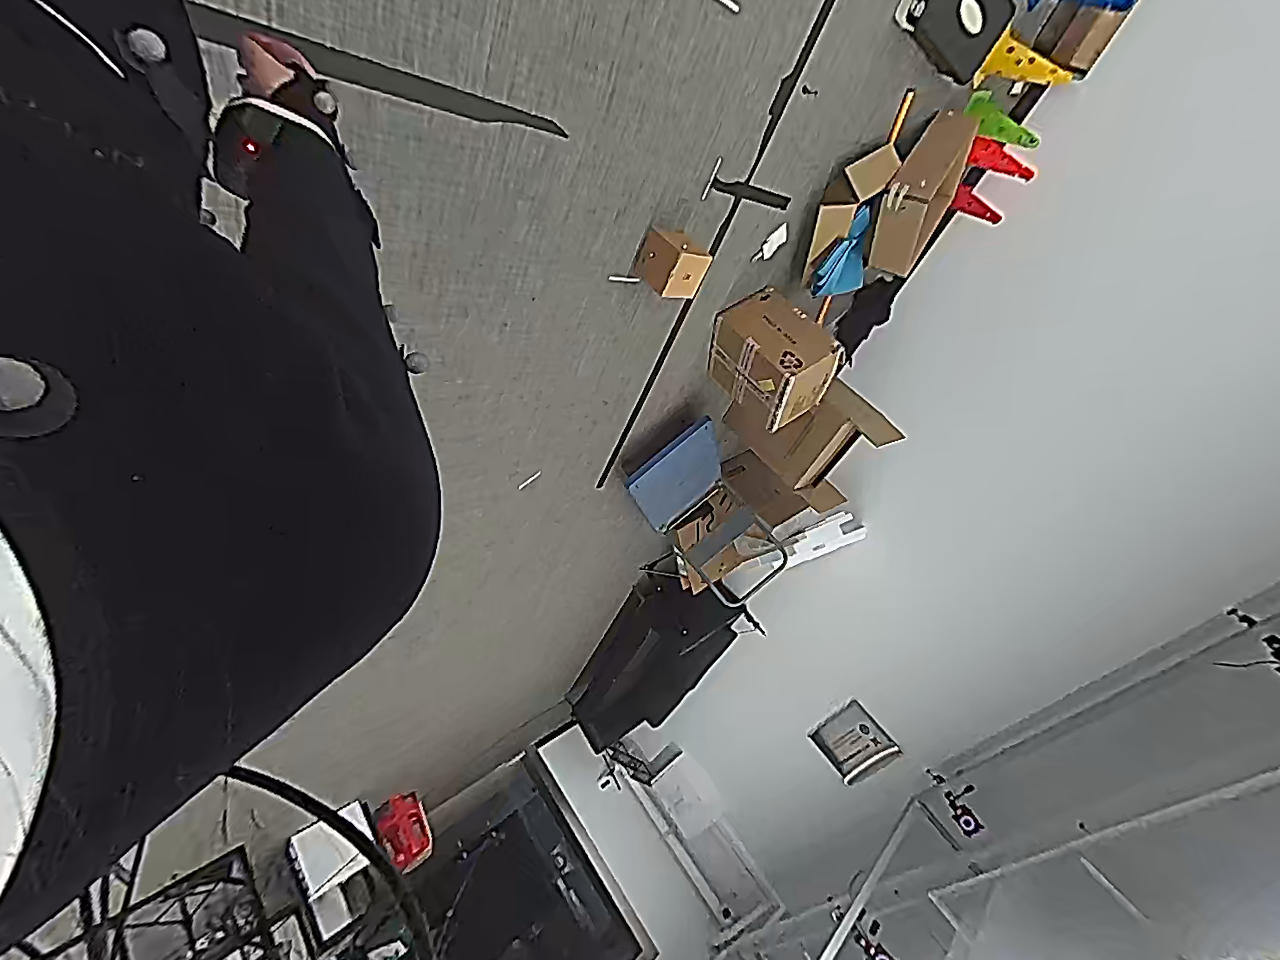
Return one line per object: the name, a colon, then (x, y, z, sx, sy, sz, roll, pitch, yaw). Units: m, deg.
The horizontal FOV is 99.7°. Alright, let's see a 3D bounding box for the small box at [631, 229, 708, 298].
small box: (0.102, -0.767, 1.918, 0.179, 0.176, 0.168, -16, 146, -44)
